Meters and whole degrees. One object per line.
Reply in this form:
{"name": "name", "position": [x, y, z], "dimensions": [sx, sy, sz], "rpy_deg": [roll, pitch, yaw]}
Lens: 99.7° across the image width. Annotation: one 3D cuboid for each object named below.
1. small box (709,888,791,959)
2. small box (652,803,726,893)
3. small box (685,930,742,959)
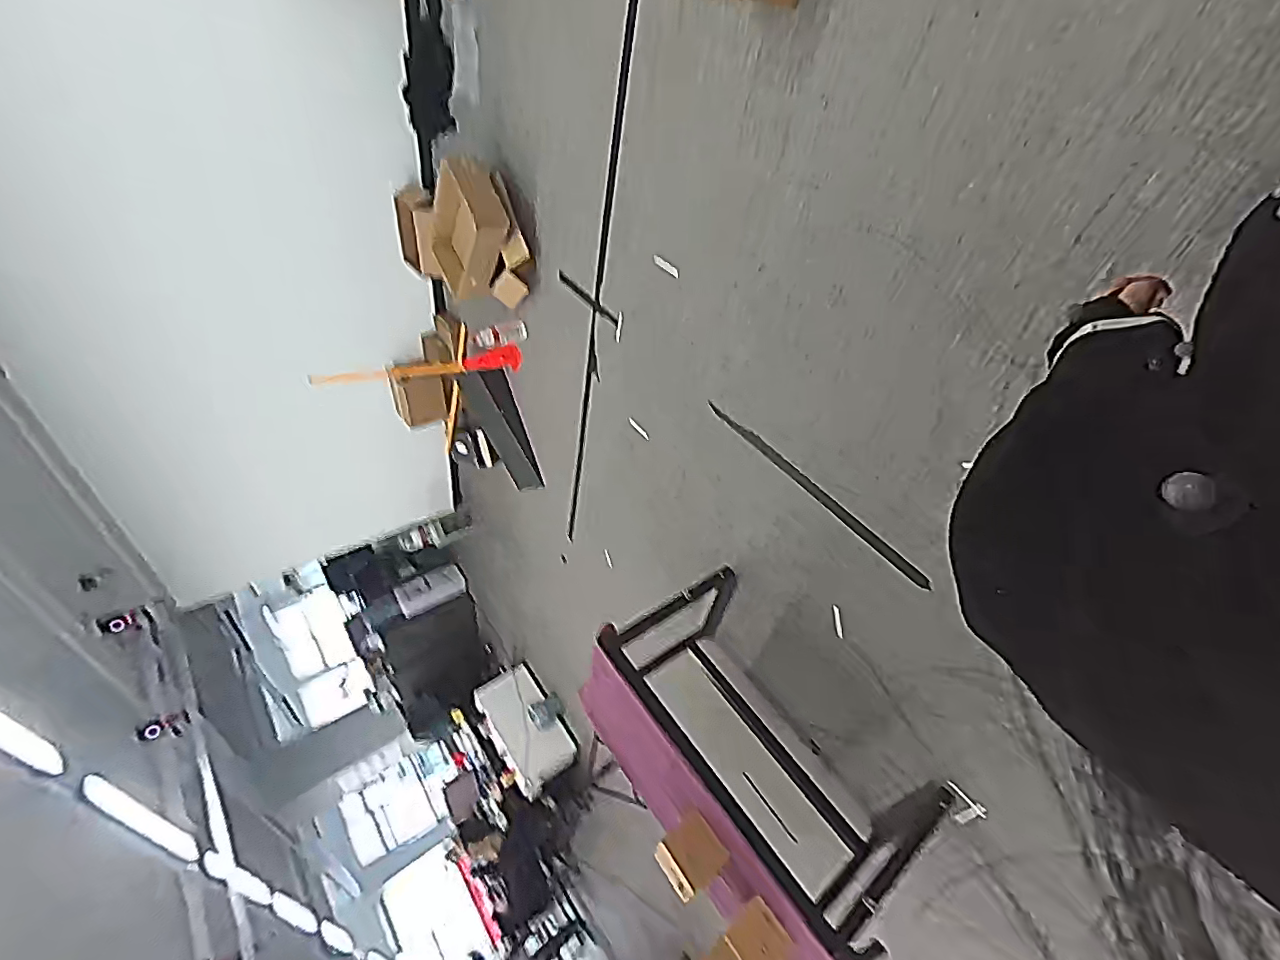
{"name": "small box", "position": [0.350, 1.439, 1.707], "dimensions": [0.168, 0.176, 0.179], "rpy_deg": [43, 142, 32]}
{"name": "small box", "position": [0.169, 1.259, 1.856], "dimensions": [0.179, 0.176, 0.168], "rpy_deg": [45, 142, 32]}
{"name": "small box", "position": [0.224, 1.502, 1.623], "dimensions": [0.179, 0.176, 0.168], "rpy_deg": [43, 141, 34]}
